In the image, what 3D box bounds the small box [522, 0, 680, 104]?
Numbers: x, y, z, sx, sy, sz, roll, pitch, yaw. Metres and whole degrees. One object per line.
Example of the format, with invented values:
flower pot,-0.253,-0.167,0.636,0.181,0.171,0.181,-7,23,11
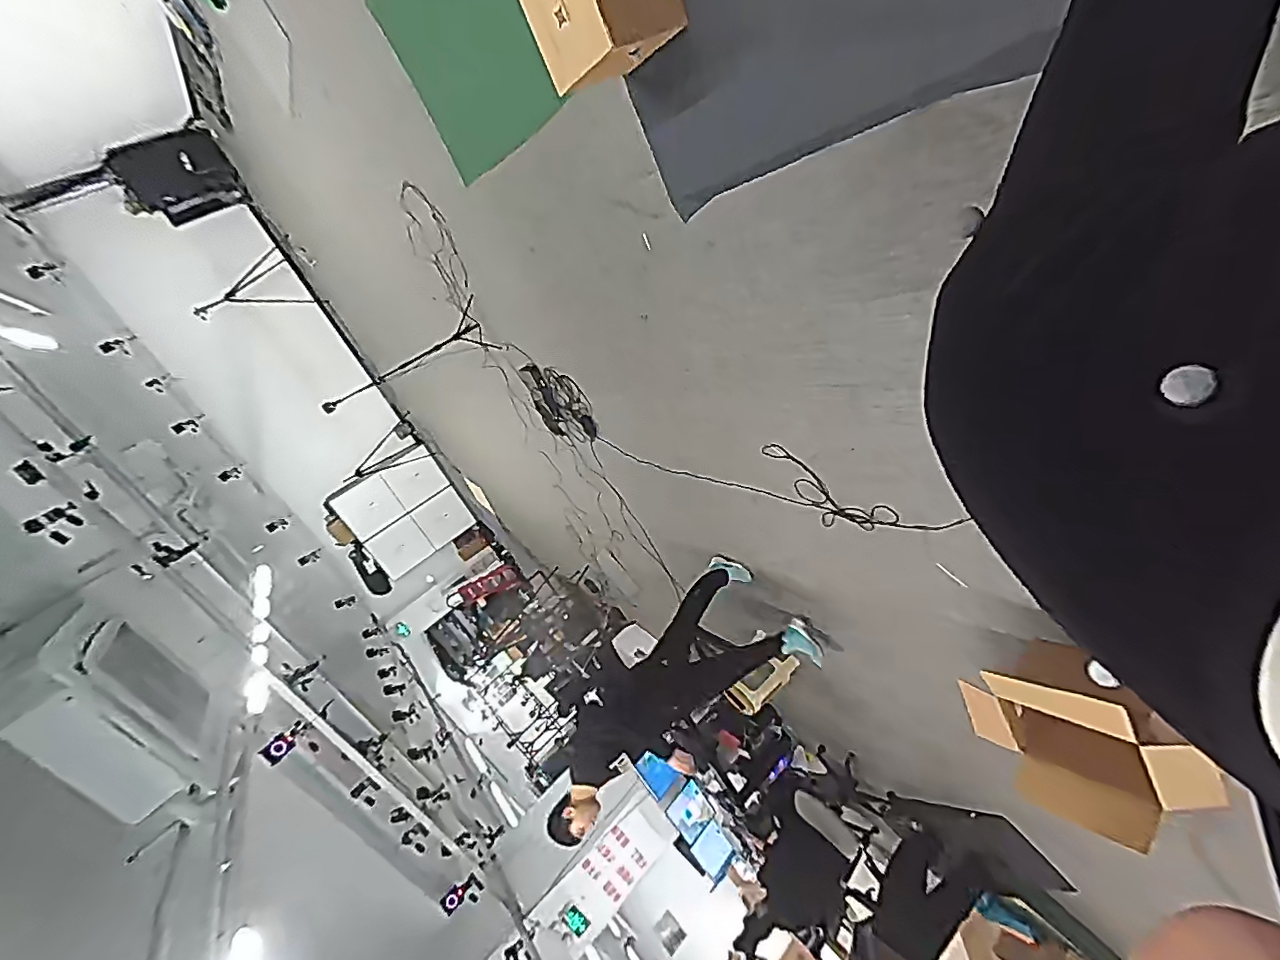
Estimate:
small box,-0.056,-0.748,0.869,0.179,0.176,0.168,16,136,52
